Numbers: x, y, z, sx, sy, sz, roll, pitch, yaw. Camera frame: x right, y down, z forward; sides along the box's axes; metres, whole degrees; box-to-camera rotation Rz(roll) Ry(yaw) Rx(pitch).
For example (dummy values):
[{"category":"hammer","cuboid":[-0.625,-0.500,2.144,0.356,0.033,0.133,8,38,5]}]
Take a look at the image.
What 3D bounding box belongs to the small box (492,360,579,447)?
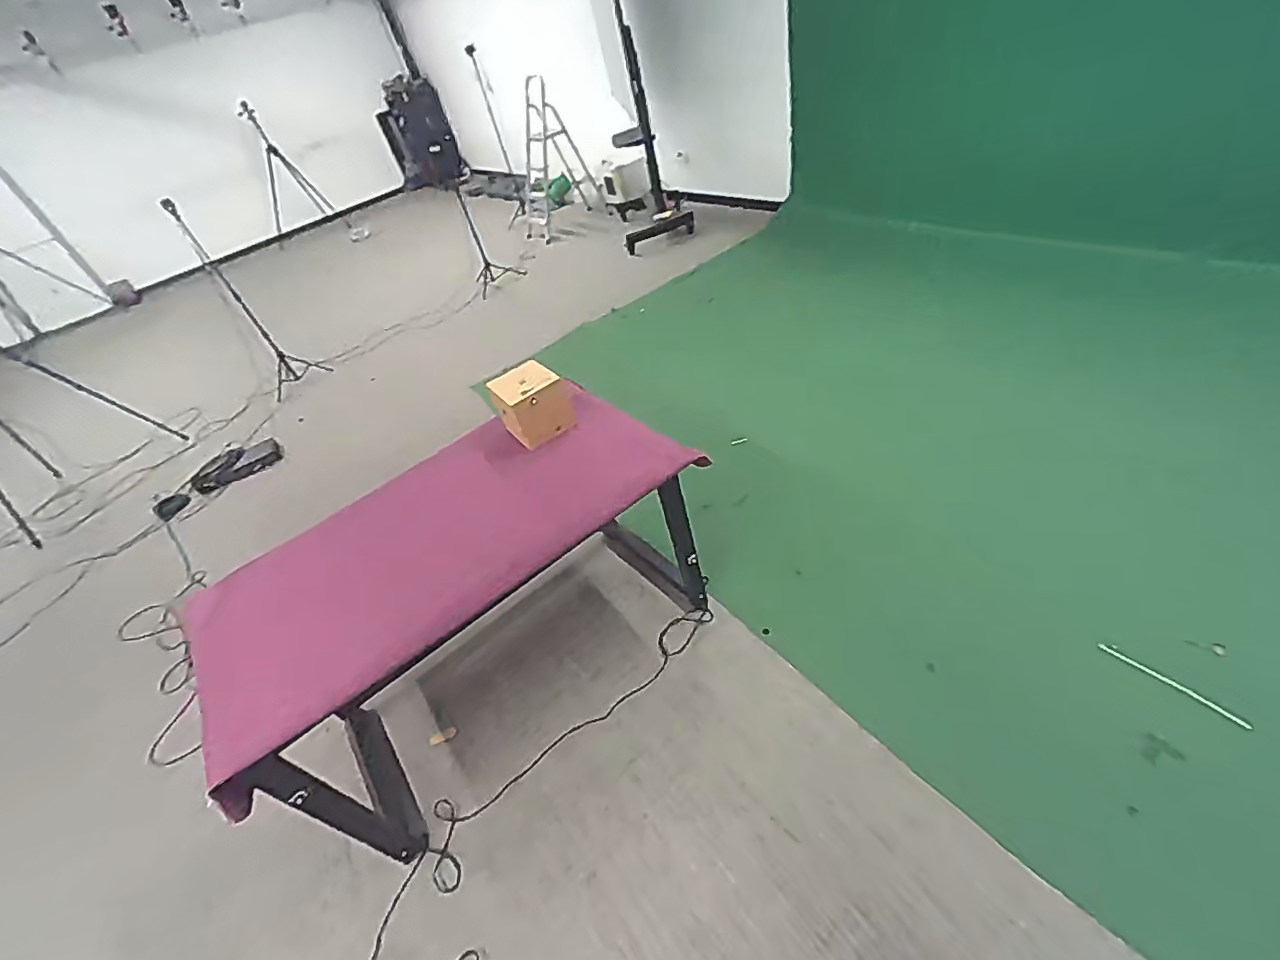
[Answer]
[{"category":"small box","cuboid":[-0.307,-0.224,1.602,0.168,0.176,0.179,-35,44,-18]}]
